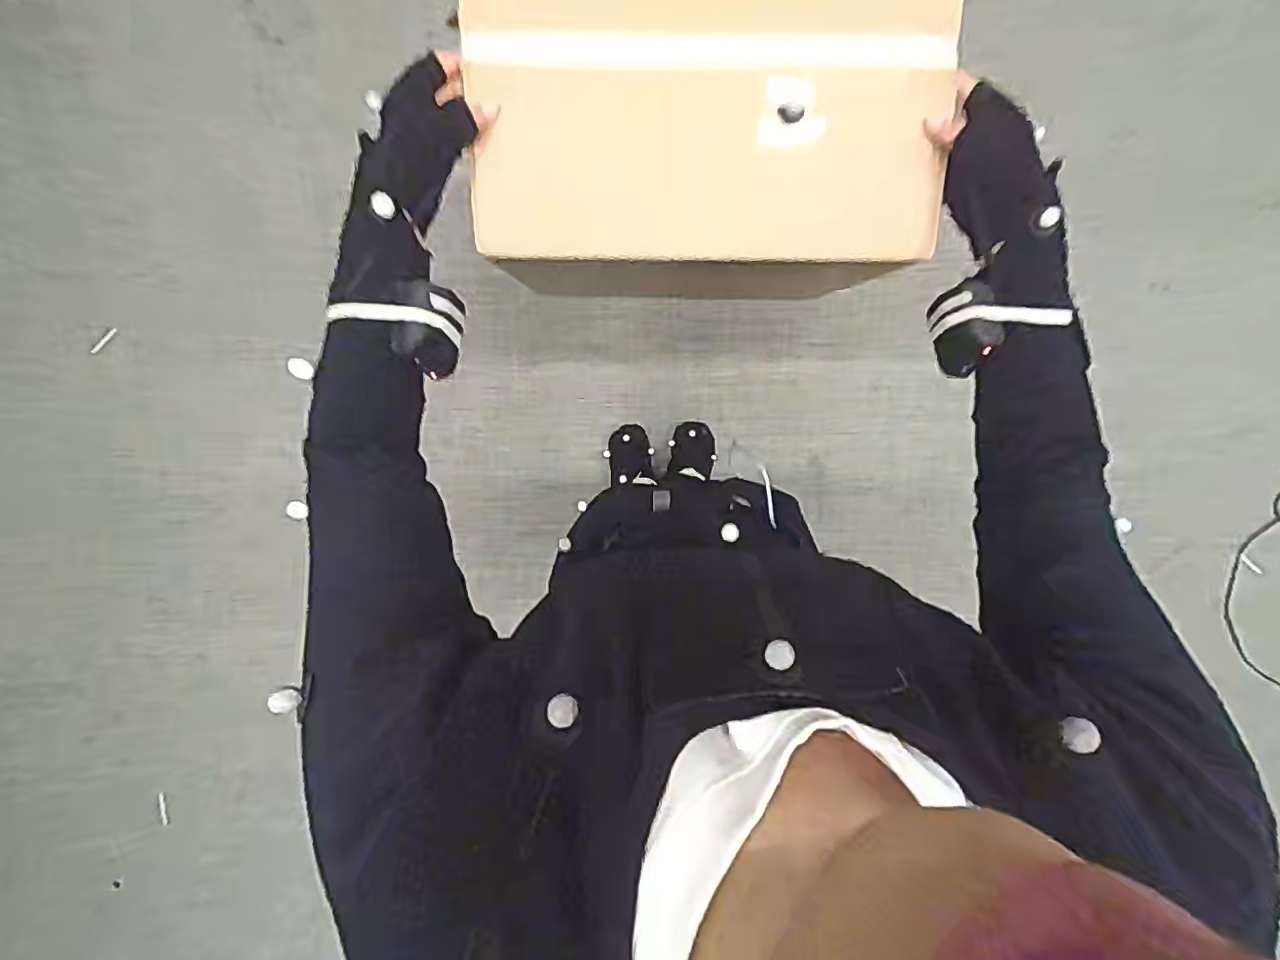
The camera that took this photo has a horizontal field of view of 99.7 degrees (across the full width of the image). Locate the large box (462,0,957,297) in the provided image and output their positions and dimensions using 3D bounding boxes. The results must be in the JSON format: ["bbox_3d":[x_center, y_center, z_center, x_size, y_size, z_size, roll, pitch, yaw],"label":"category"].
[{"bbox_3d":[0.052,-0.381,0.585,0.408,0.320,0.320,0,103,-1],"label":"large box"}]
